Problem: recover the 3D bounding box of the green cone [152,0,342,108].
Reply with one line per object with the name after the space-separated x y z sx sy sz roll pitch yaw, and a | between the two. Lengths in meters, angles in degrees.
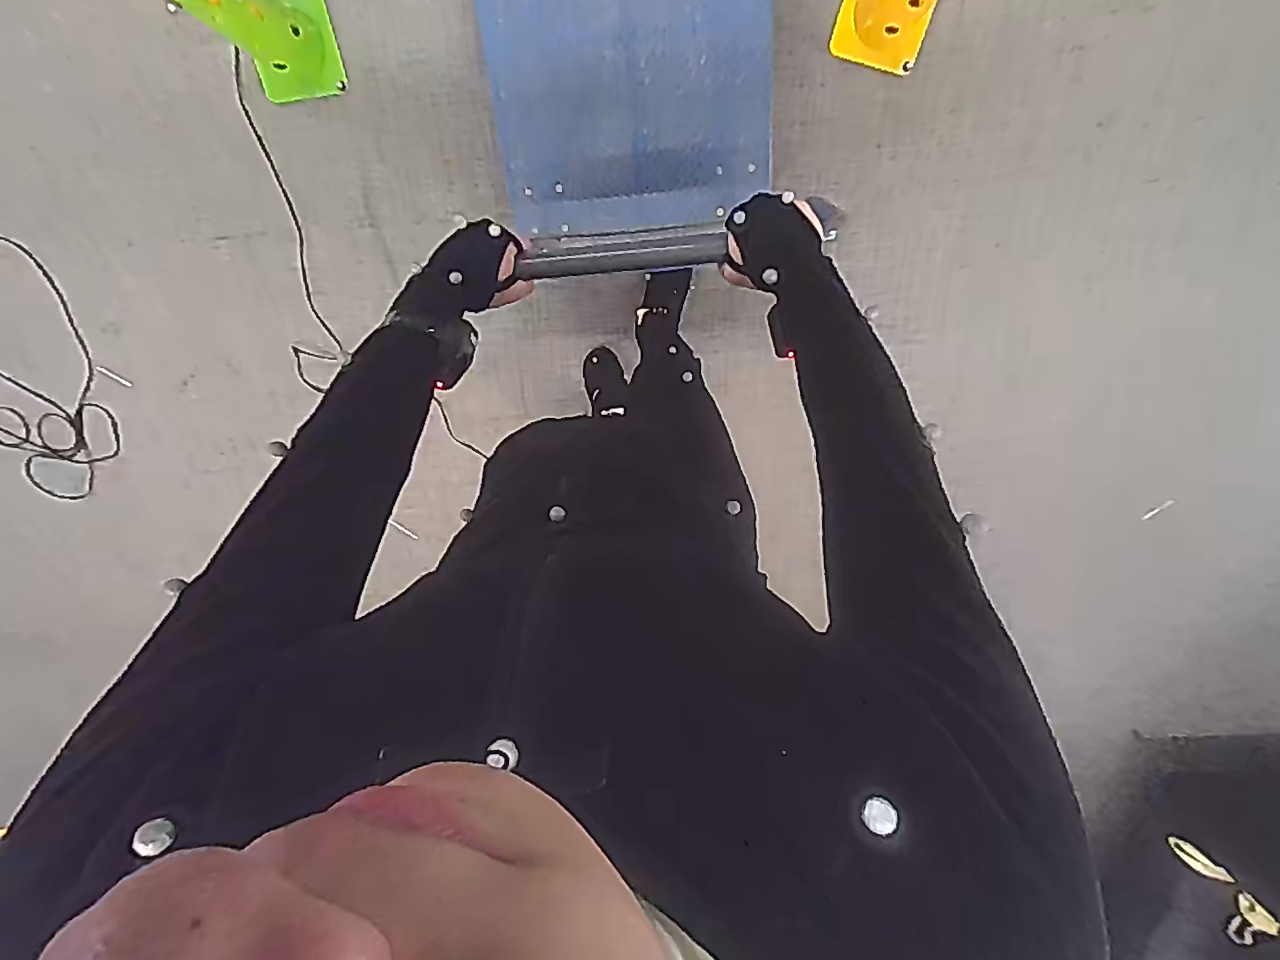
-0.801 -0.901 1.066 0.202 0.368 0.200 -6 114 6 | green cone
